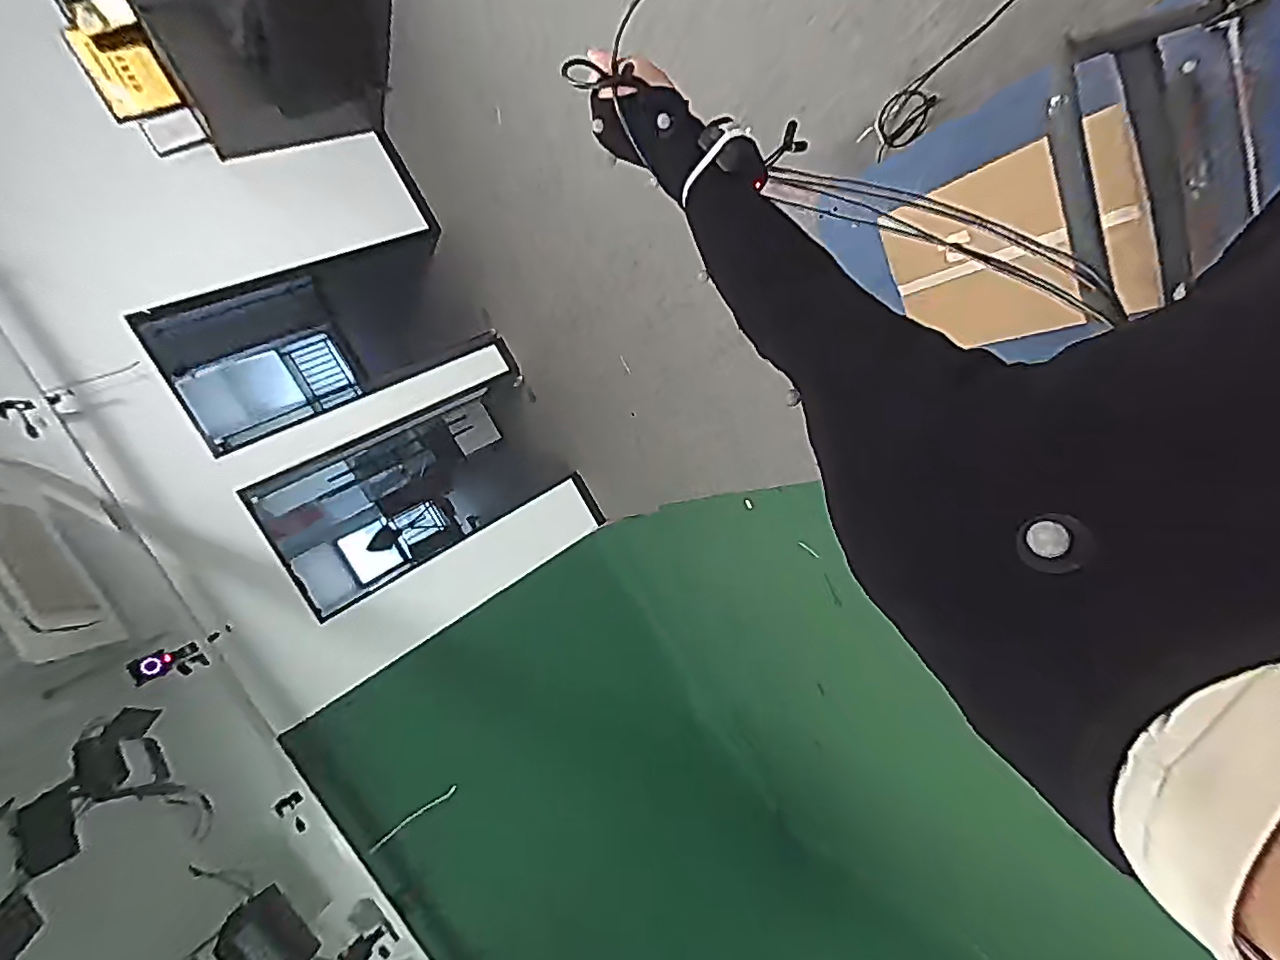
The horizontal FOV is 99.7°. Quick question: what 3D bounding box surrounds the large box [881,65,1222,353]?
[{"bbox_3d":[0.769,-0.487,1.040,0.408,0.320,0.320,-1,118,61],"label":"large box"}]
